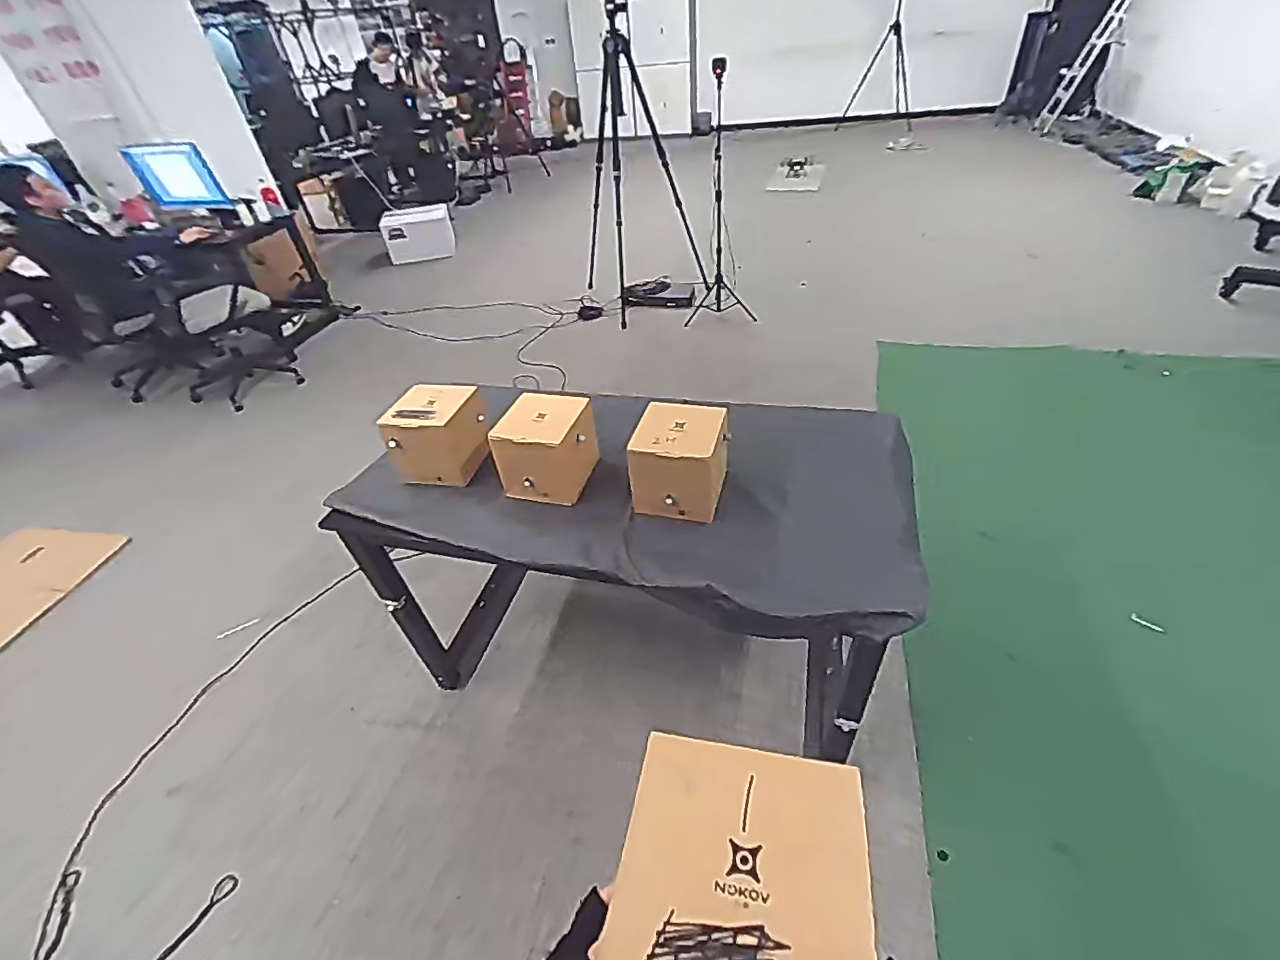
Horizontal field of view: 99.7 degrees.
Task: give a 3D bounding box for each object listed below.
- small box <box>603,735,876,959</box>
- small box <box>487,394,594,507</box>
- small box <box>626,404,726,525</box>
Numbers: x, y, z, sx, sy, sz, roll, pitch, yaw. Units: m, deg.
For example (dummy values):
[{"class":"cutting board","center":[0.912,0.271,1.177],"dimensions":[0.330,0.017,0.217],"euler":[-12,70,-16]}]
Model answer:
[{"class":"small box","center":[0.078,0.332,0.409],"dimensions":[0.168,0.176,0.179],"euler":[4,37,14]},{"class":"small box","center":[-0.208,-0.067,1.195],"dimensions":[0.168,0.176,0.179],"euler":[8,42,15]},{"class":"small box","center":[0.078,-0.034,1.118],"dimensions":[0.168,0.176,0.179],"euler":[8,42,16]}]
